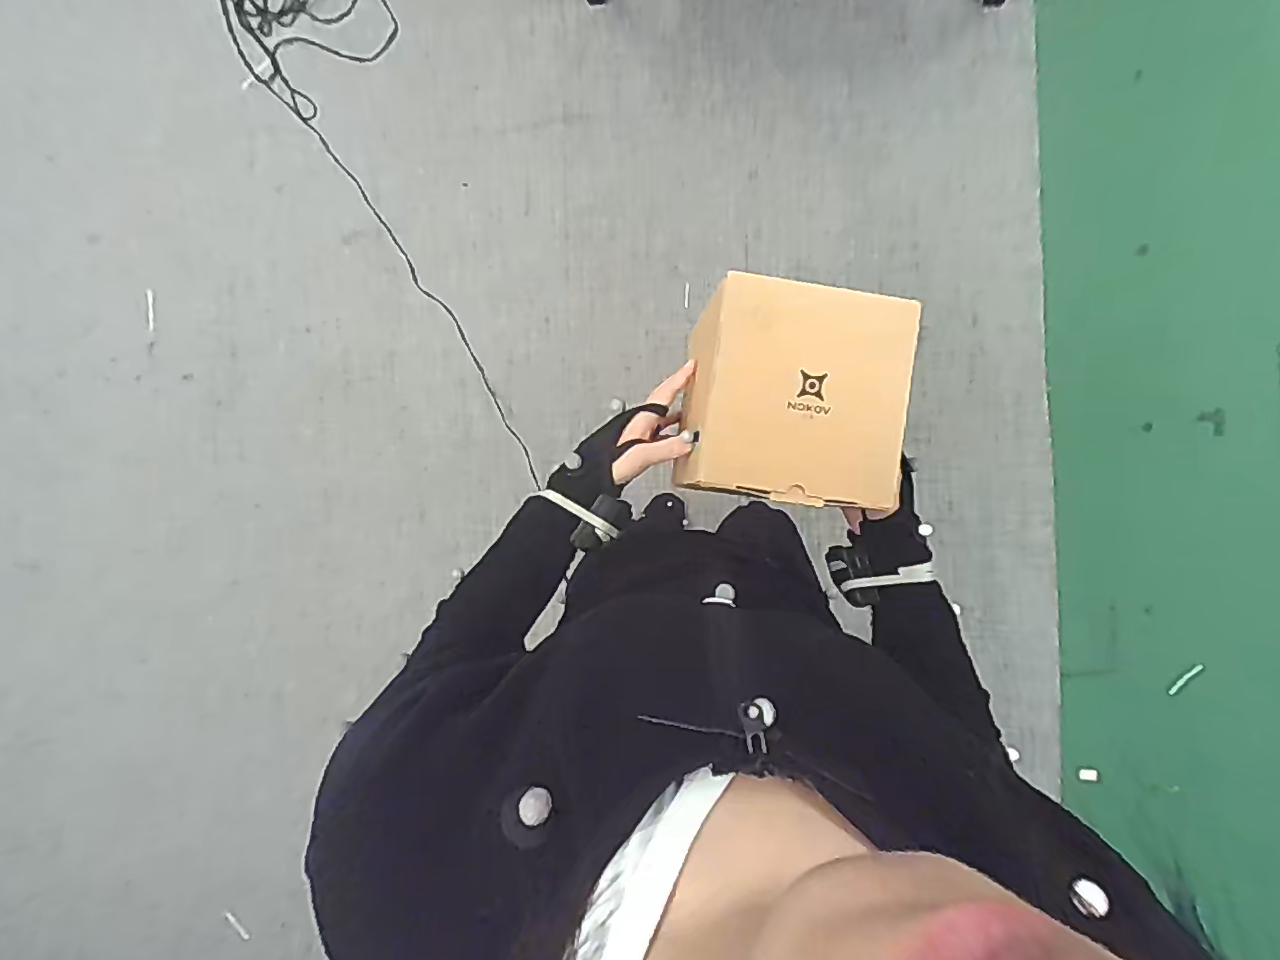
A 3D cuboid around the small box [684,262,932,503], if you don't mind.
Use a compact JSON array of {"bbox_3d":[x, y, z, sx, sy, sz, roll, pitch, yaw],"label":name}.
[{"bbox_3d":[0.140,-0.076,0.510,0.168,0.176,0.179,7,89,-3],"label":"small box"}]
